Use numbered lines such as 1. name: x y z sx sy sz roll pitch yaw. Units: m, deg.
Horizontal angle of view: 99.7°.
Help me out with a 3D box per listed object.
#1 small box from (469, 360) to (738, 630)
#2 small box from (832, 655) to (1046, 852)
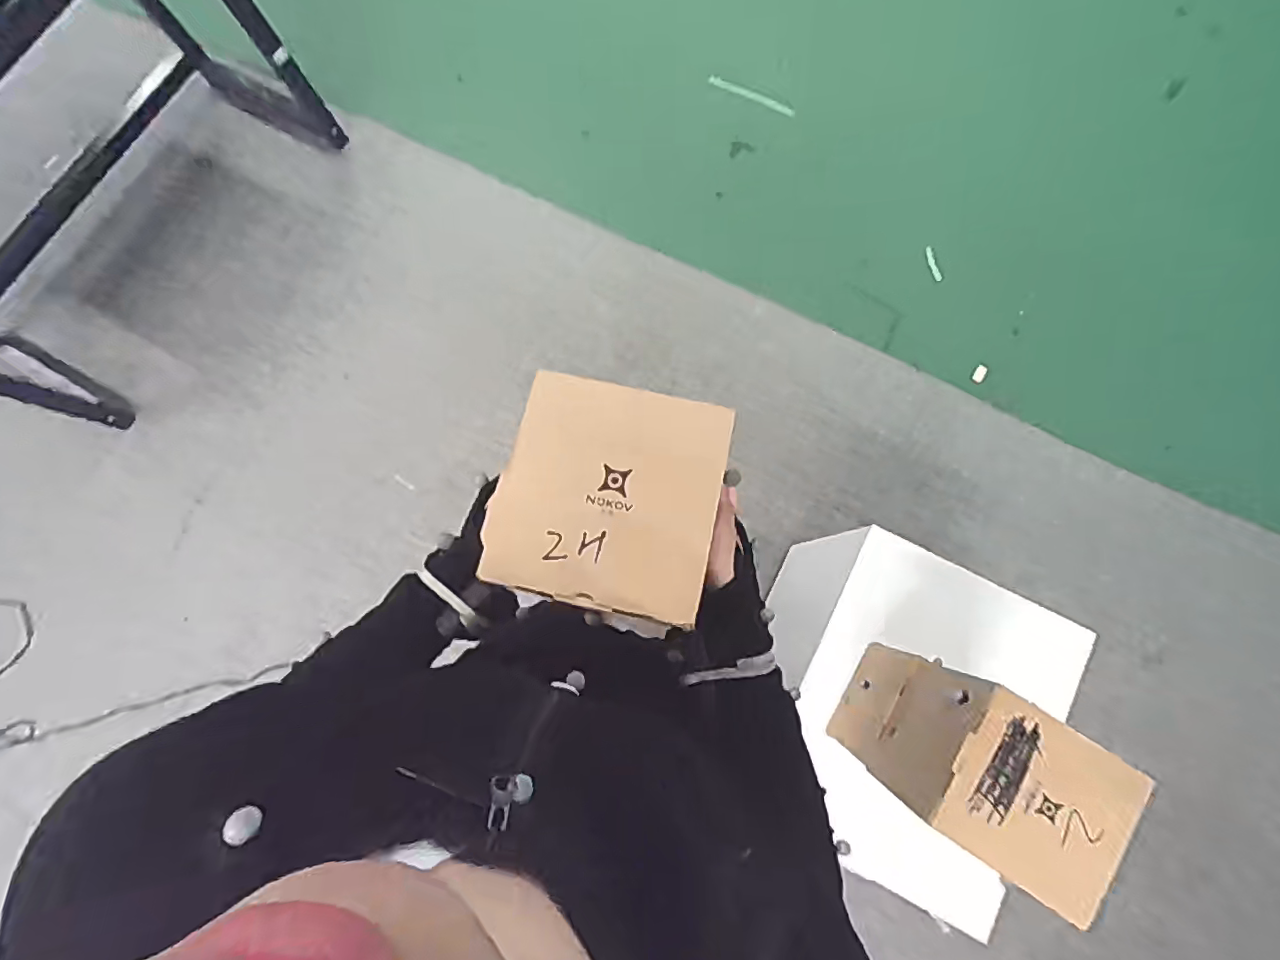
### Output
1. small box: -0.023 0.025 0.473 0.168 0.176 0.179 13 75 4
2. small box: 0.409 0.368 0.770 0.179 0.176 0.168 30 80 6
